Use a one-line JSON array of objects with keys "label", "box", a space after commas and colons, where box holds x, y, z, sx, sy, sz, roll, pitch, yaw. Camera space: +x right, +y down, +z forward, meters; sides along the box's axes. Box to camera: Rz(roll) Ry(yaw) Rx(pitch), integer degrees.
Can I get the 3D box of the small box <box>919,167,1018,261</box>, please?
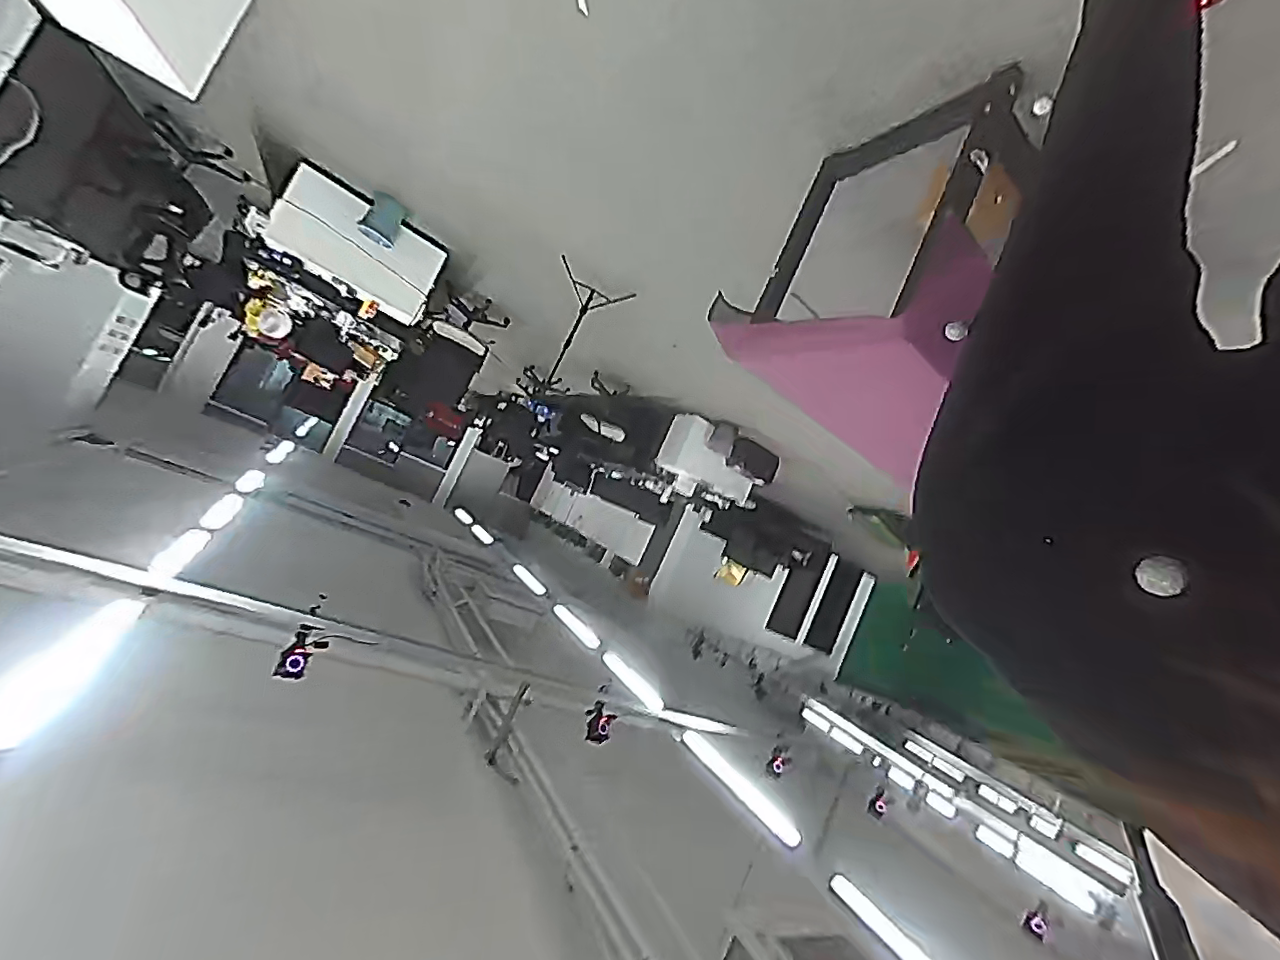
[{"label": "small box", "box": [0.957, -0.776, 1.574, 0.179, 0.176, 0.168, 28, 174, -30]}]
